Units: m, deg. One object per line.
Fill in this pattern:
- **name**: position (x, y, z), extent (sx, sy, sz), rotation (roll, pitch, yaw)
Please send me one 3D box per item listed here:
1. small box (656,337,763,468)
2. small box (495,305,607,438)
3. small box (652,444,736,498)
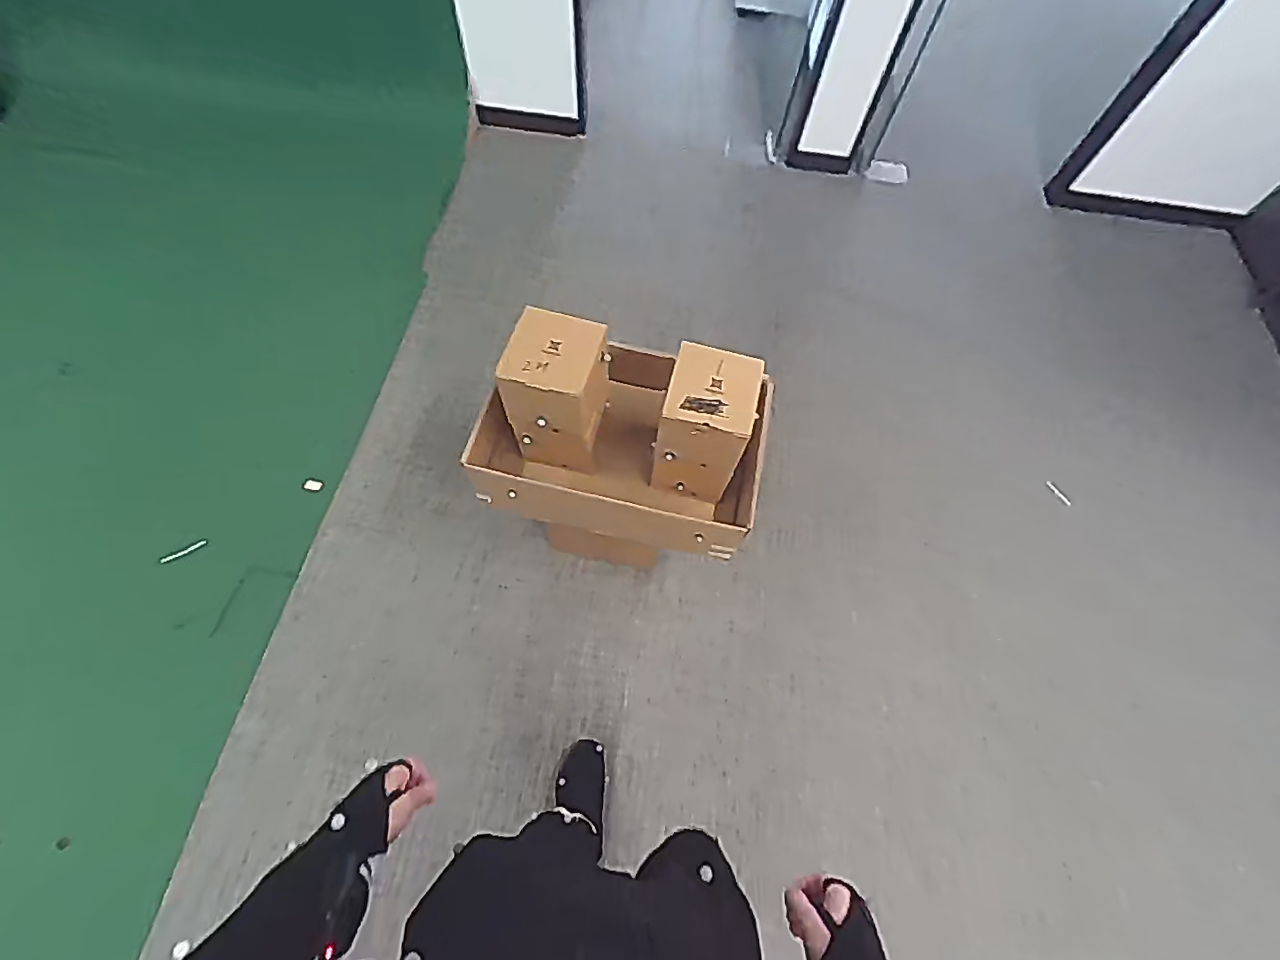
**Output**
- **small box**: position (0.130, -0.145, 1.061), extent (0.168, 0.176, 0.179), rotation (14, 66, 3)
- **small box**: position (-0.168, -0.211, 1.076), extent (0.168, 0.176, 0.179), rotation (14, 65, 4)
- **small box**: position (0.126, -0.083, 1.214), extent (0.168, 0.176, 0.179), rotation (13, 66, 2)
